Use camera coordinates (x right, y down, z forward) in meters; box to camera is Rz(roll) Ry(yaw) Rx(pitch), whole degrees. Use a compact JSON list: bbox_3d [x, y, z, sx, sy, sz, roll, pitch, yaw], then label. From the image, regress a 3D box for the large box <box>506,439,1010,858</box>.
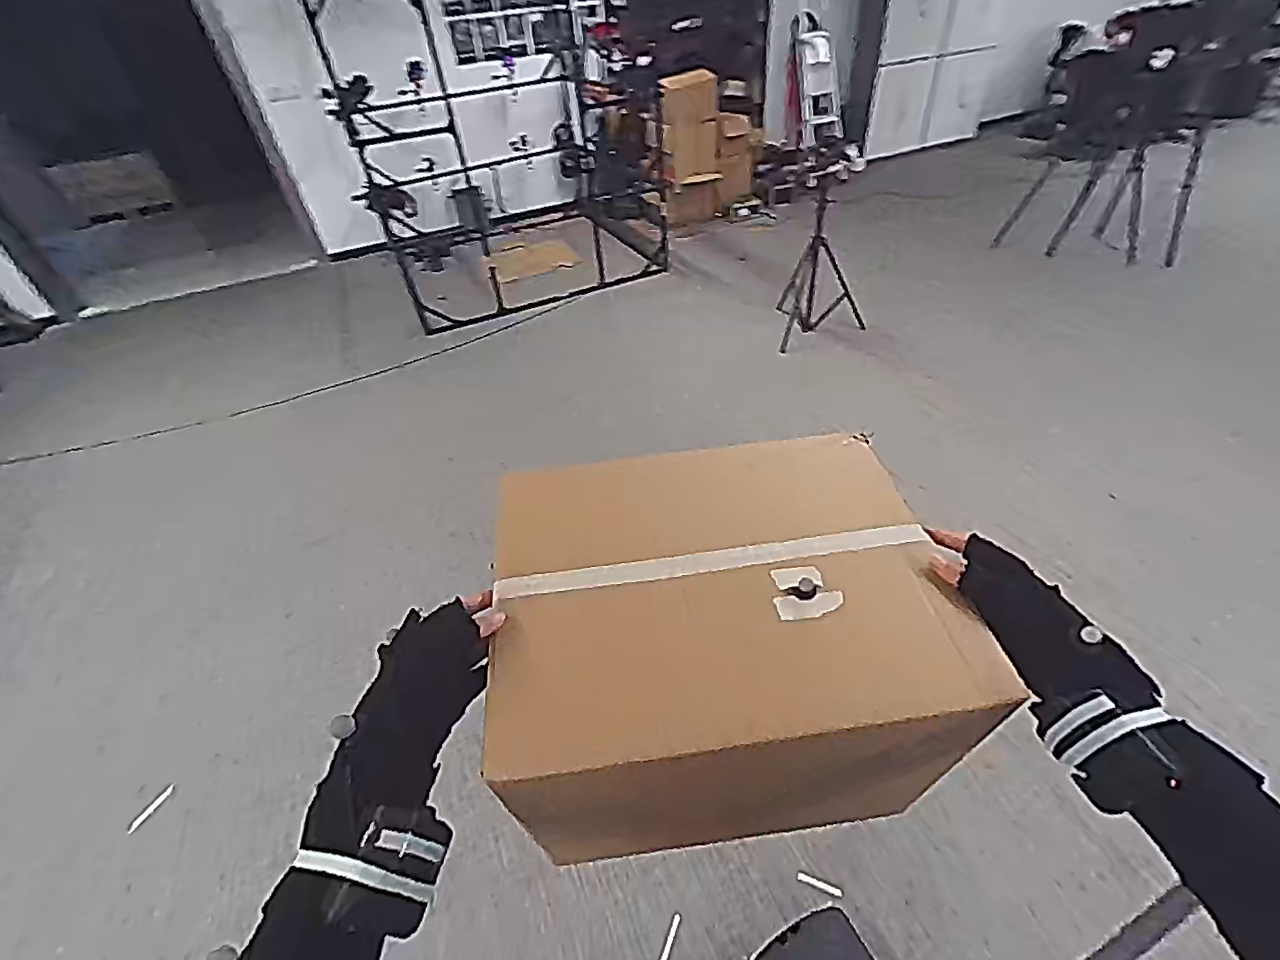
[{"bbox_3d":[0.080,0.187,0.616,0.408,0.320,0.320,-7,46,-4],"label":"large box"}]
